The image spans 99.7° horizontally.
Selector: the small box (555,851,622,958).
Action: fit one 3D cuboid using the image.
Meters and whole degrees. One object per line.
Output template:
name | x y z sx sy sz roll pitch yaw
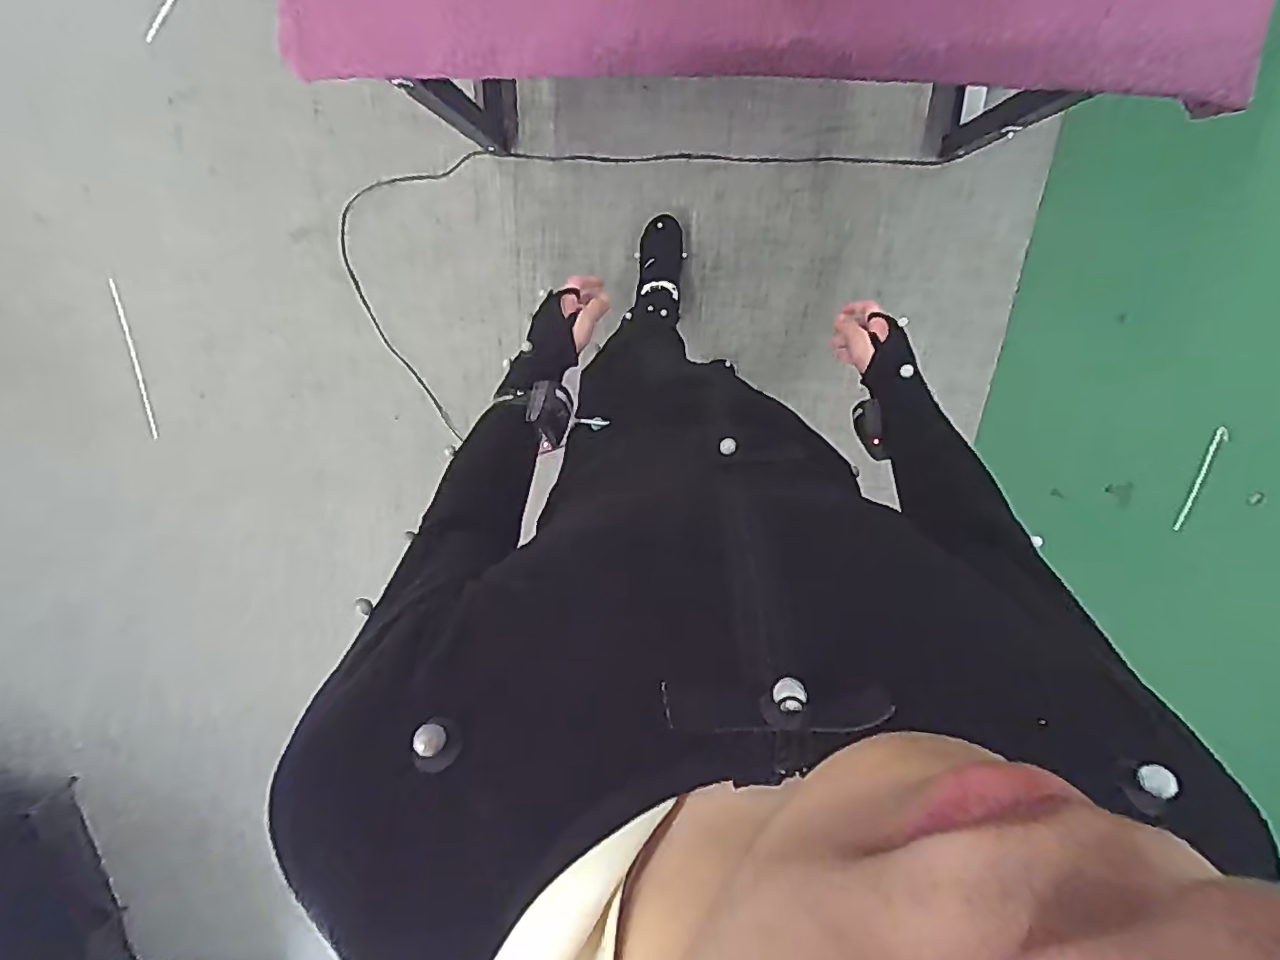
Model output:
small box | -0.147 1.231 1.573 0.168 0.176 0.179 6 108 3
